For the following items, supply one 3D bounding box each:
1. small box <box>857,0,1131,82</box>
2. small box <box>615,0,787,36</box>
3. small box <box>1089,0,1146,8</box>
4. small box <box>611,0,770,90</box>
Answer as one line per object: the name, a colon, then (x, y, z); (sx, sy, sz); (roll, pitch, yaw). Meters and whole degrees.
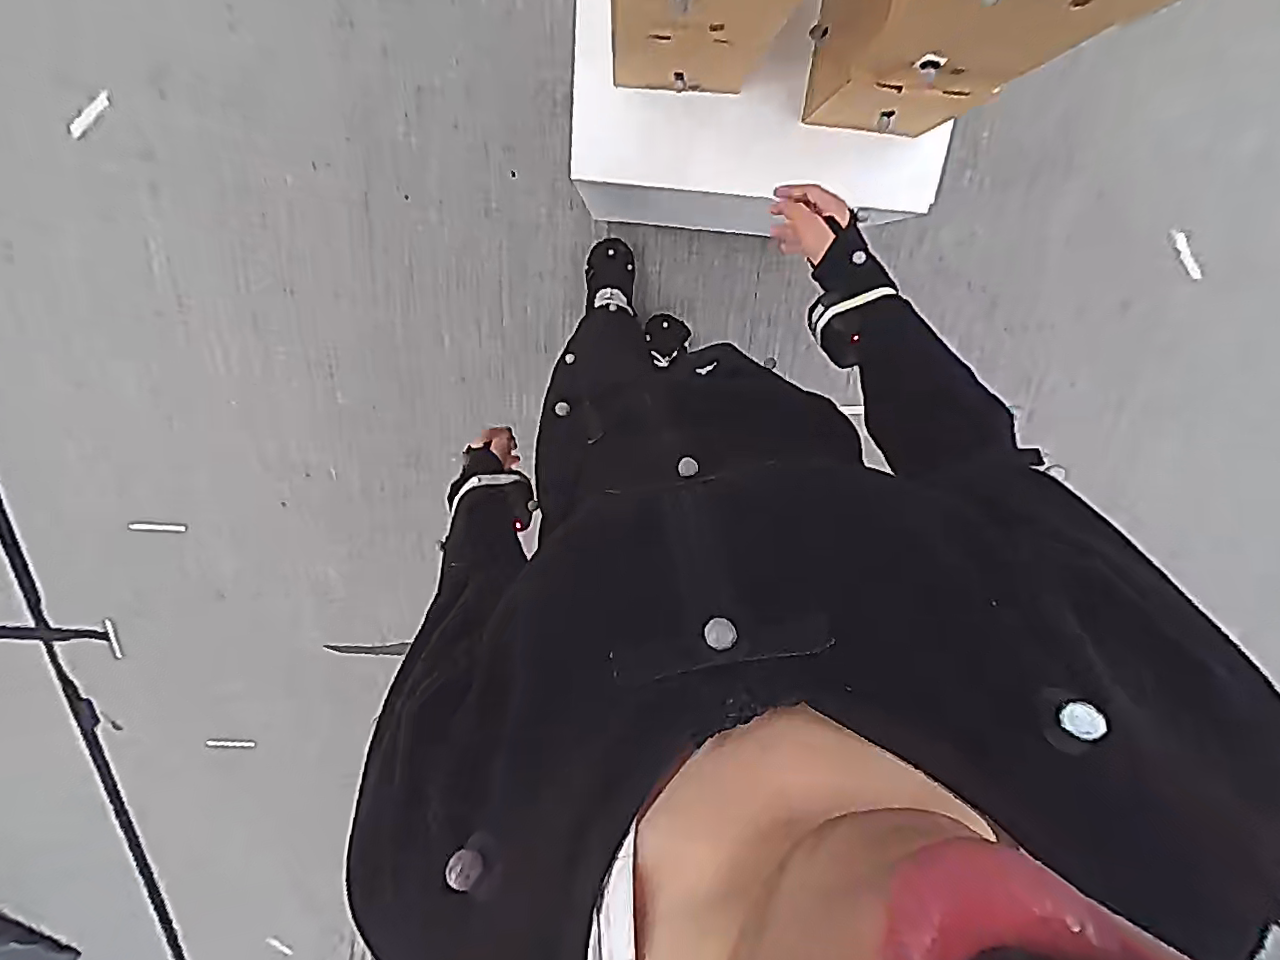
small box: (0.309, -0.481, 0.463); (0.168, 0.176, 0.179); (5, 111, -2)
small box: (0.061, -0.506, 0.445); (0.168, 0.176, 0.179); (2, 110, -3)
small box: (0.313, -0.421, 0.310); (0.168, 0.176, 0.179); (7, 108, -3)
small box: (0.052, -0.566, 0.596); (0.168, 0.176, 0.179); (1, 111, -3)
